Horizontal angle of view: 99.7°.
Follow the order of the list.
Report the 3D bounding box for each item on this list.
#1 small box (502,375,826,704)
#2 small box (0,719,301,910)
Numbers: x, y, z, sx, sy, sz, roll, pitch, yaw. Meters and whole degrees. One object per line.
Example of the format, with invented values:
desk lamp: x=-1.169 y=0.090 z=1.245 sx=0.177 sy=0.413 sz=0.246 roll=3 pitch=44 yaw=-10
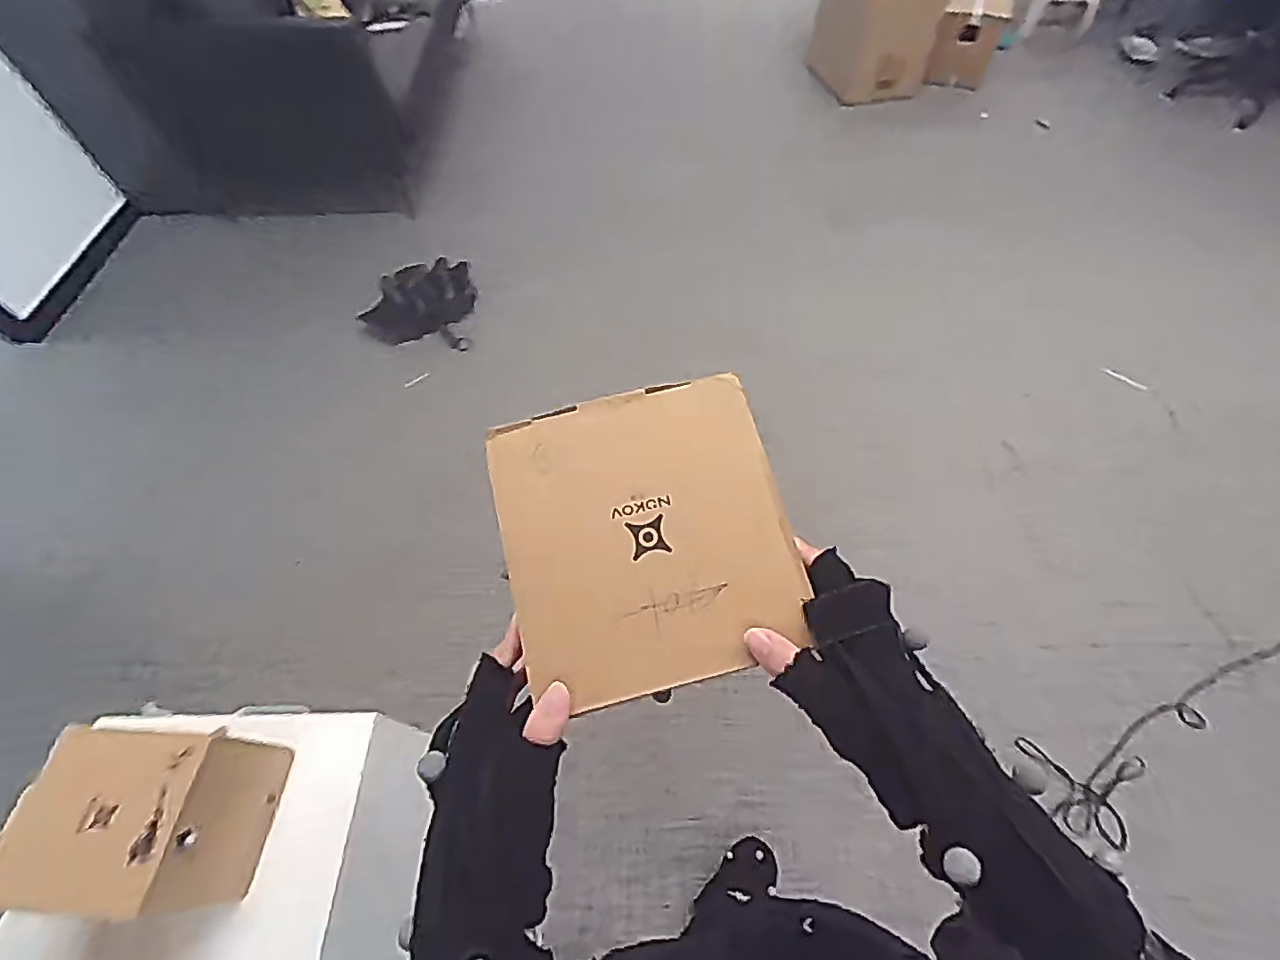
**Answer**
small box: x=0.008 y=0.050 z=0.401 sx=0.168 sy=0.176 sz=0.179 roll=-13 pitch=74 yaw=-3
small box: x=-0.555 y=0.388 z=0.638 sx=0.179 sy=0.176 sz=0.168 roll=1 pitch=59 yaw=4
